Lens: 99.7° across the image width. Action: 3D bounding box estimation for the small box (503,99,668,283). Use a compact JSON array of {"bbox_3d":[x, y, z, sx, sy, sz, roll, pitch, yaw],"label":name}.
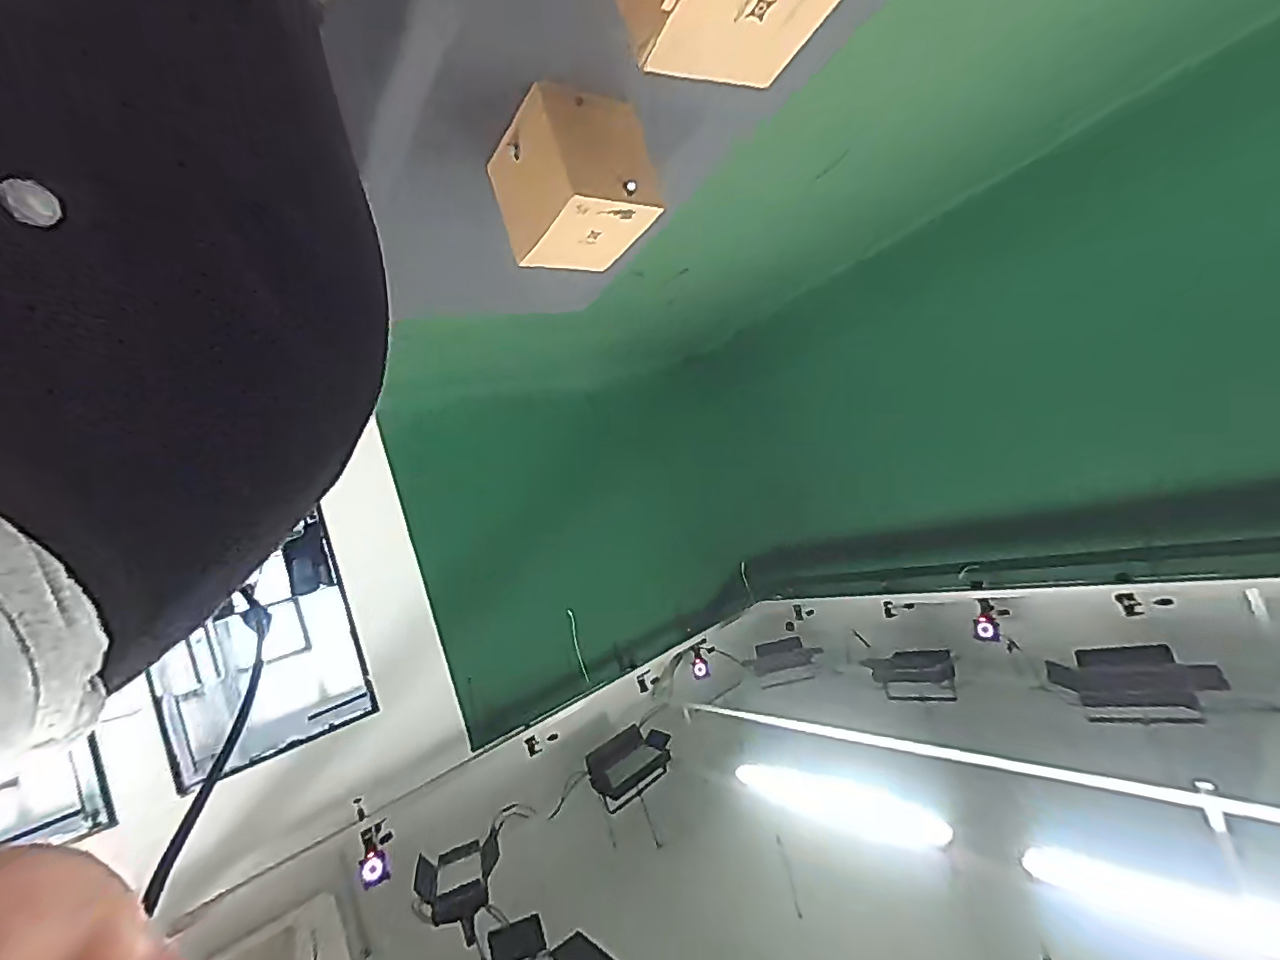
[{"bbox_3d":[-0.090,-0.419,0.815,0.168,0.176,0.179,-16,176,-38],"label":"small box"}]
